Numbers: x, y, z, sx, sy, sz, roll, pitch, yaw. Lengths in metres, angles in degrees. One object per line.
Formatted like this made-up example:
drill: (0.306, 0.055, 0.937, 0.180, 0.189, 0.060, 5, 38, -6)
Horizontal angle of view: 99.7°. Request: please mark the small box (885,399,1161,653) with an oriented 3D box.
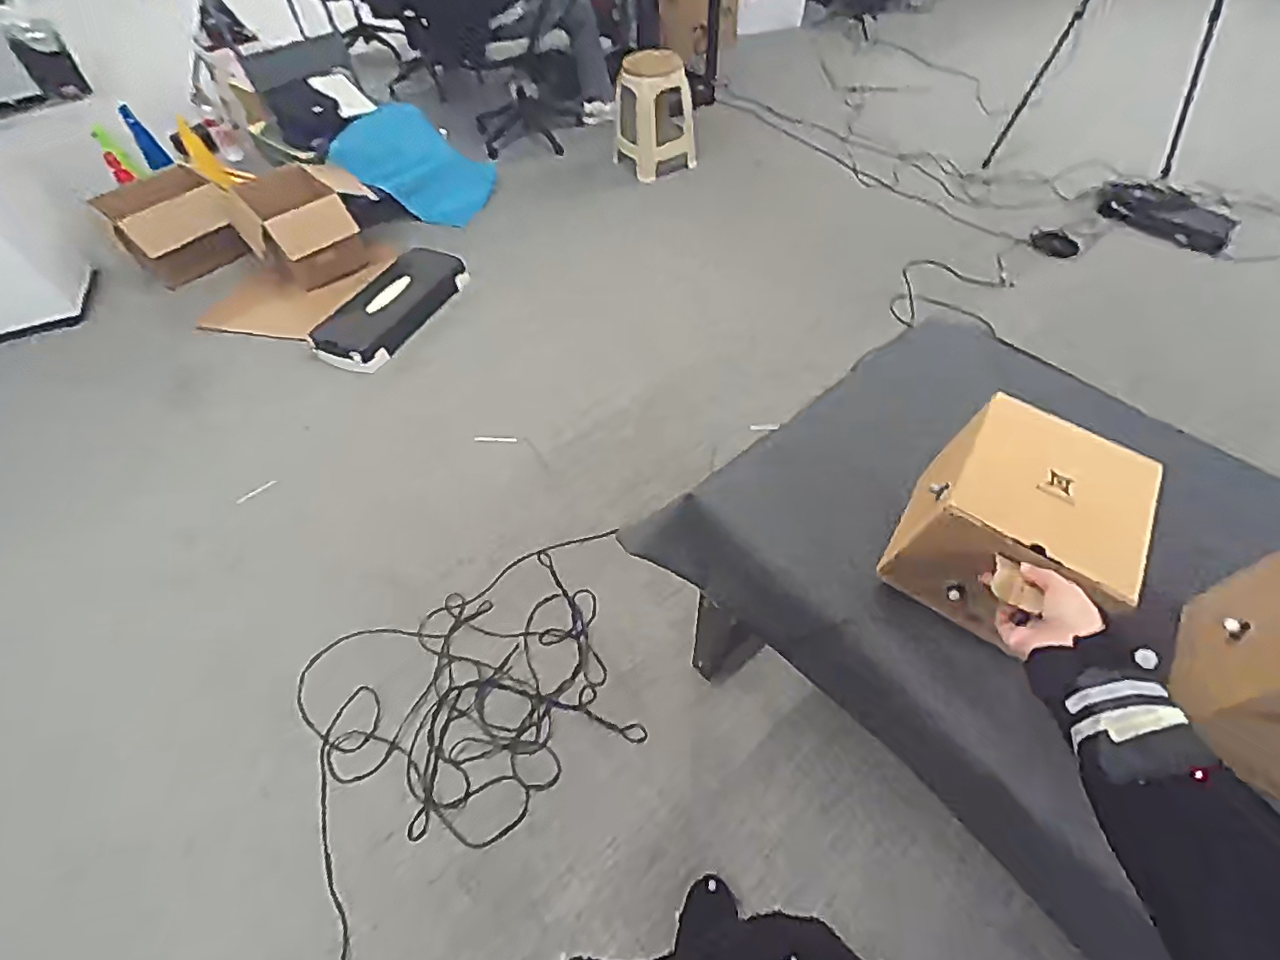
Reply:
small box: (0.396, 0.054, 0.583, 0.168, 0.176, 0.179, 31, 61, 16)
